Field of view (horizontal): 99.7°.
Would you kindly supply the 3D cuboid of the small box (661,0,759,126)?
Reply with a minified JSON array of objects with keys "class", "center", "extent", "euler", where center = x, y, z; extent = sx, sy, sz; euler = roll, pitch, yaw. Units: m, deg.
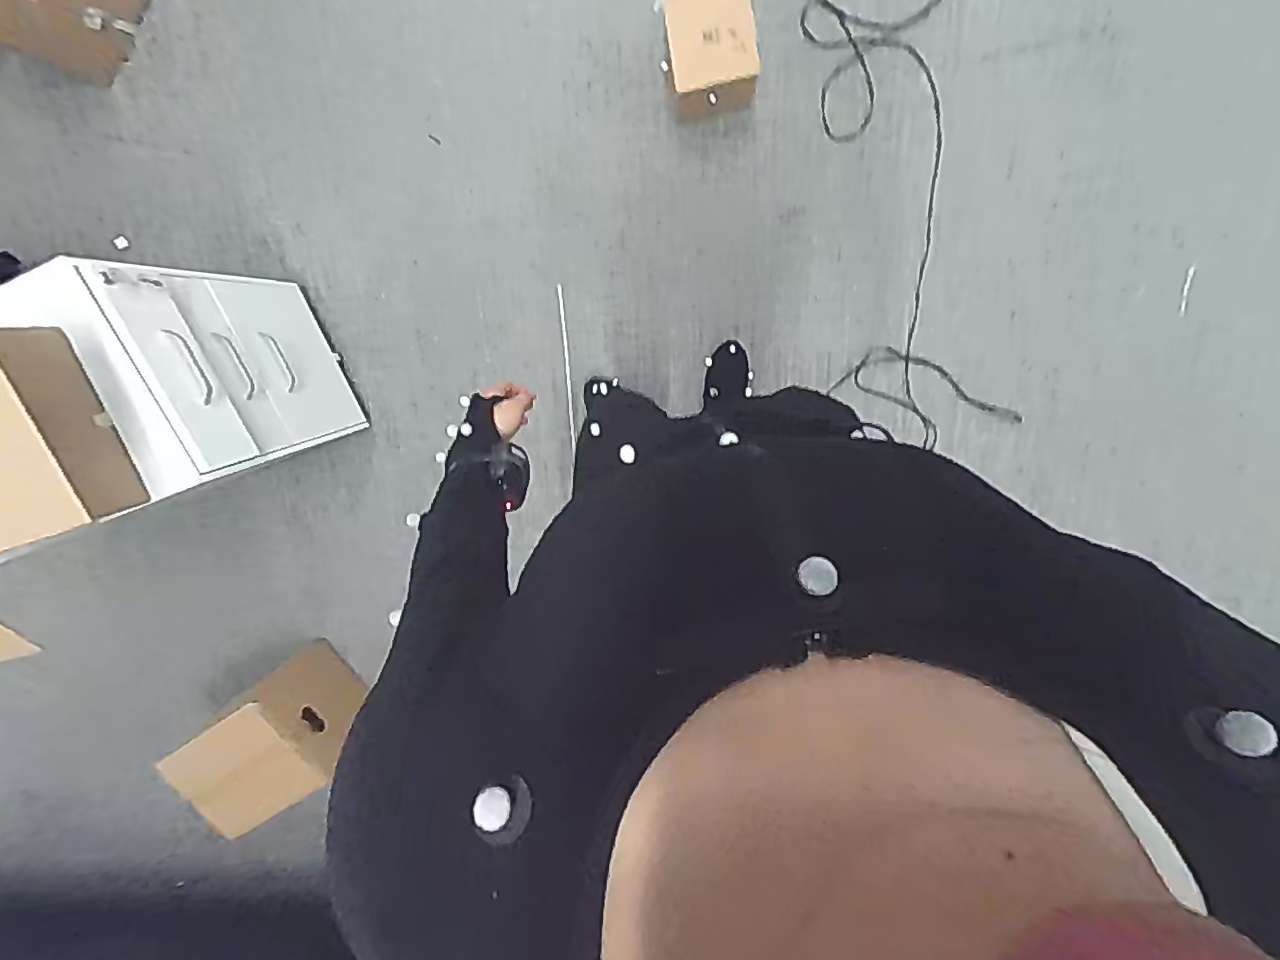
[{"class":"small box","center":[0.148,-0.890,1.155],"extent":[0.179,0.176,0.168],"euler":[-10,105,6]}]

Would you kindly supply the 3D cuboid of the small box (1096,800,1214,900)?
[{"class":"small box","center":[1.537,1.106,1.628],"extent":[0.168,0.176,0.179],"euler":[10,106,1]}]
